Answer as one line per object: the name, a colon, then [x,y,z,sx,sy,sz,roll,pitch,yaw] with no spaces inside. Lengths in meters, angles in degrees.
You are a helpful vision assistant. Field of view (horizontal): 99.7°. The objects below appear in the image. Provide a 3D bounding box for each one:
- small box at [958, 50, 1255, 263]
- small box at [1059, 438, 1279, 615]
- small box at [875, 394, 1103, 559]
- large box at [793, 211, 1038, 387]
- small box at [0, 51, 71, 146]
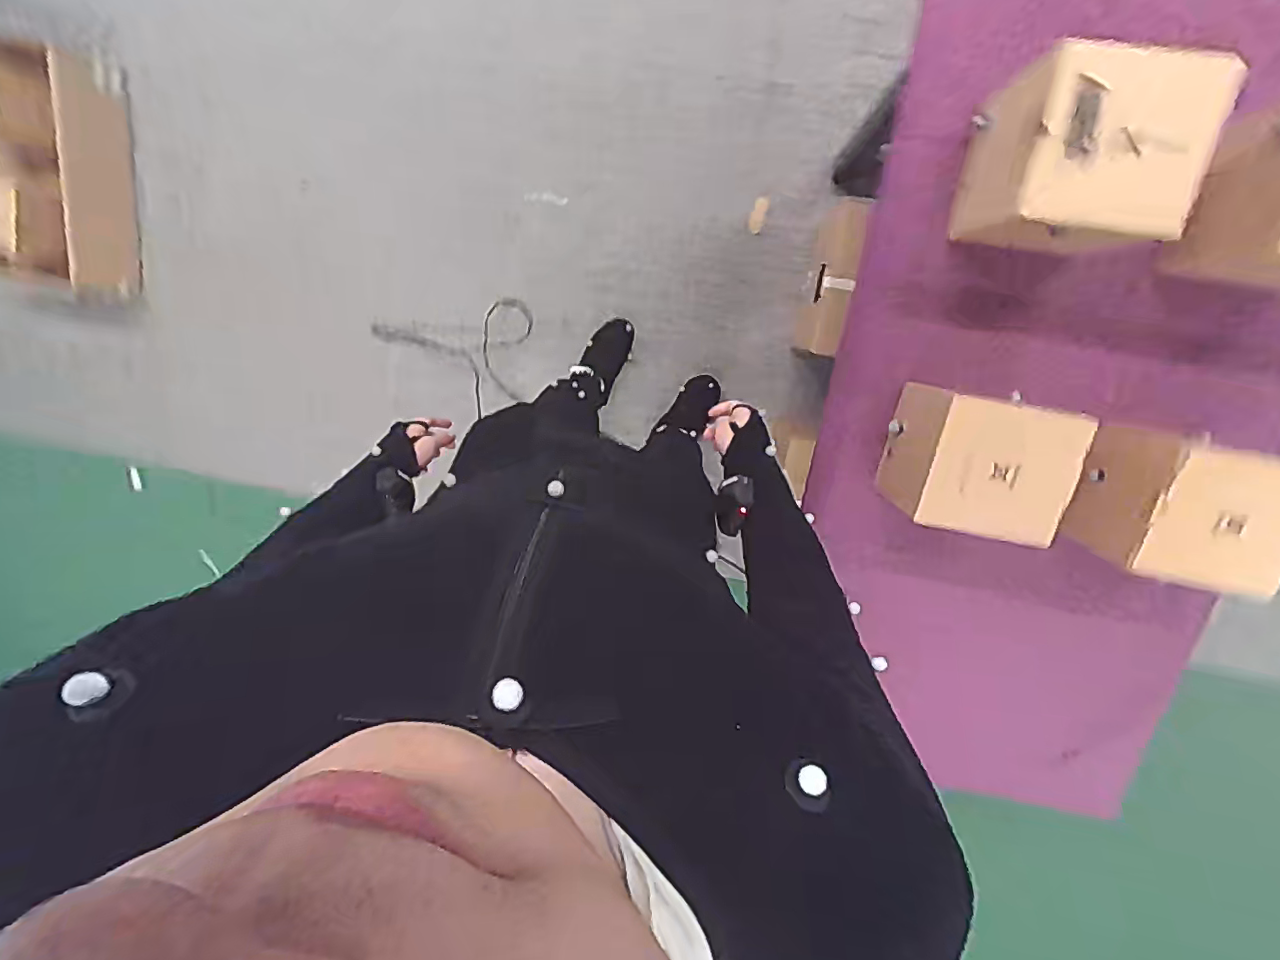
small box: [0.512,-0.358,0.631,0.179,0.176,0.168,10,107,2]
small box: [0.719,0.051,0.723,0.179,0.176,0.168,13,107,4]
small box: [0.453,-0.015,0.736,0.179,0.176,0.168,12,106,3]
large box: [0.620,-0.420,1.294,0.408,0.320,0.320,11,107,3]
small box: [-1.676,-1.012,1.426,0.168,0.176,0.179,8,107,4]
